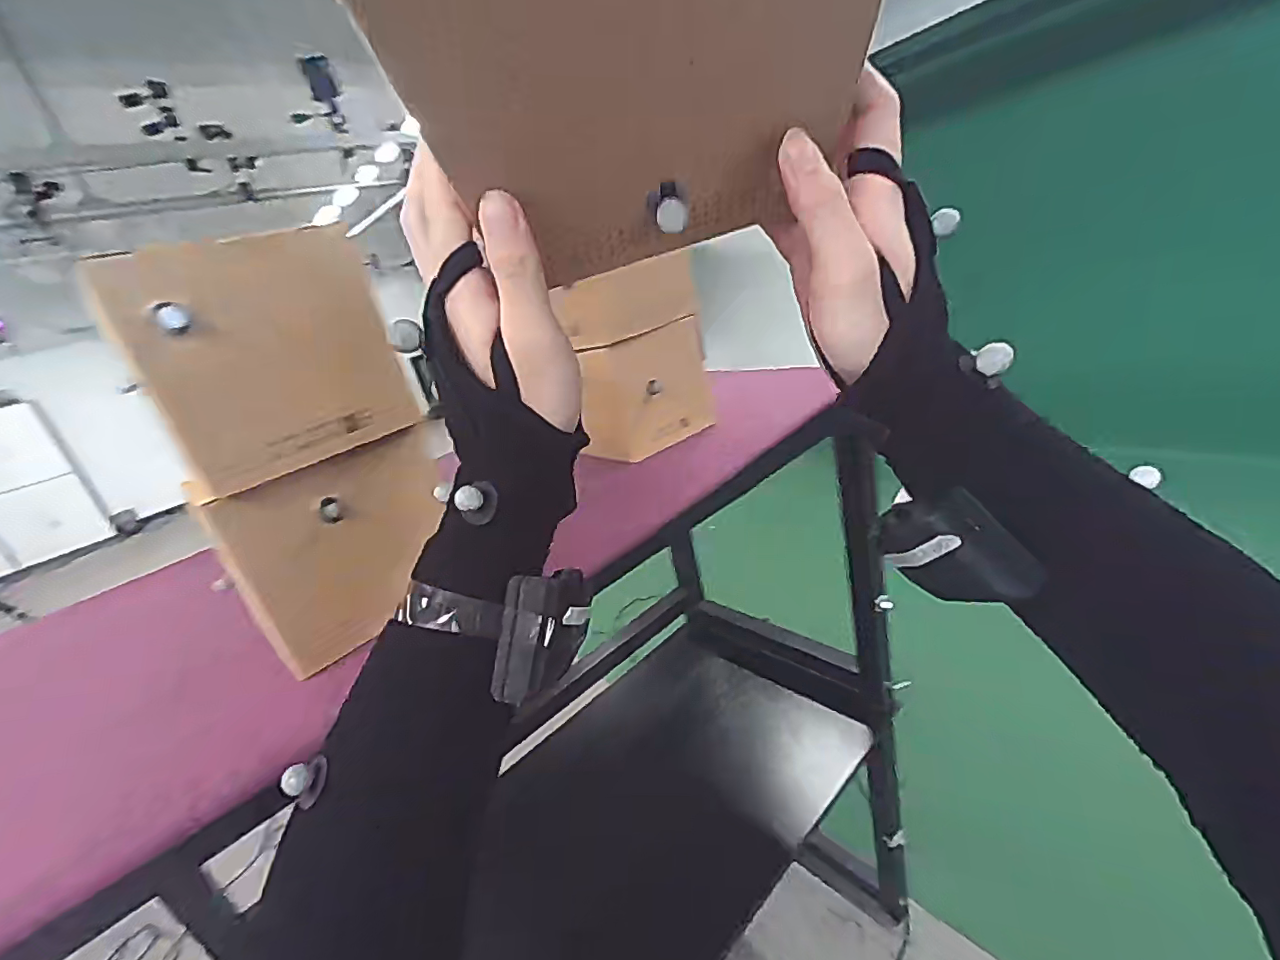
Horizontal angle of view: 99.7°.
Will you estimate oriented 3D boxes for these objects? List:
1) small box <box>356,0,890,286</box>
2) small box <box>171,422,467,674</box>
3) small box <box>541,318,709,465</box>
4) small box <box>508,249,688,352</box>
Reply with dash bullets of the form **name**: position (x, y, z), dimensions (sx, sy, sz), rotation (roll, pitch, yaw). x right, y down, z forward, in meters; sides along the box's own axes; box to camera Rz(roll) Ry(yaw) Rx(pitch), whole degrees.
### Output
- **small box**: position (-0.009, -0.215, 0.231), dimensions (0.179, 0.168, 0.176), rotation (-16, -13, 3)
- **small box**: position (-0.301, 0.052, 0.522), dimensions (0.168, 0.176, 0.179), rotation (8, 30, 45)
- **small box**: position (-0.019, -0.132, 0.817), dimensions (0.168, 0.176, 0.179), rotation (-28, 23, -31)
- **small box**: position (-0.055, -0.278, 0.753), dimensions (0.179, 0.176, 0.168), rotation (-29, 25, -34)
